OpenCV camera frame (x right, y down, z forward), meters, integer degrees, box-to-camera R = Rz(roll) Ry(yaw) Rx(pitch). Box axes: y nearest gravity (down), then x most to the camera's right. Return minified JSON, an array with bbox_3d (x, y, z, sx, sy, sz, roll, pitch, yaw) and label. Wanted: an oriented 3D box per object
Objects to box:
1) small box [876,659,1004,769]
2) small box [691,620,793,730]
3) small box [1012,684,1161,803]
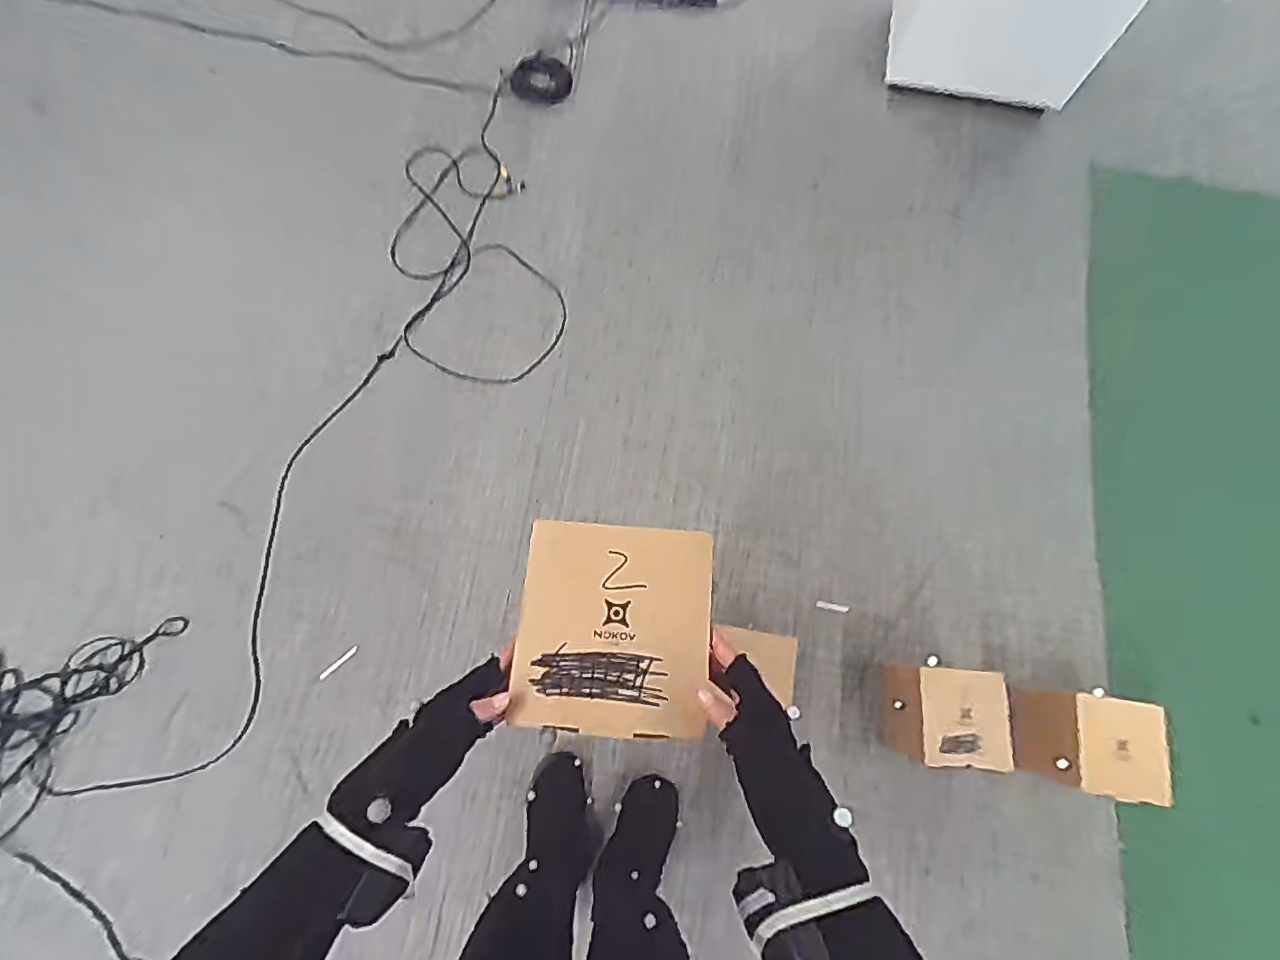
[{"bbox_3d":[0.596,0.465,1.096,0.168,0.176,0.179,5,73,0],"label":"small box"},{"bbox_3d":[0.201,0.390,1.103,0.168,0.176,0.179,10,75,3],"label":"small box"},{"bbox_3d":[0.884,0.518,1.090,0.168,0.176,0.179,9,74,2],"label":"small box"}]
